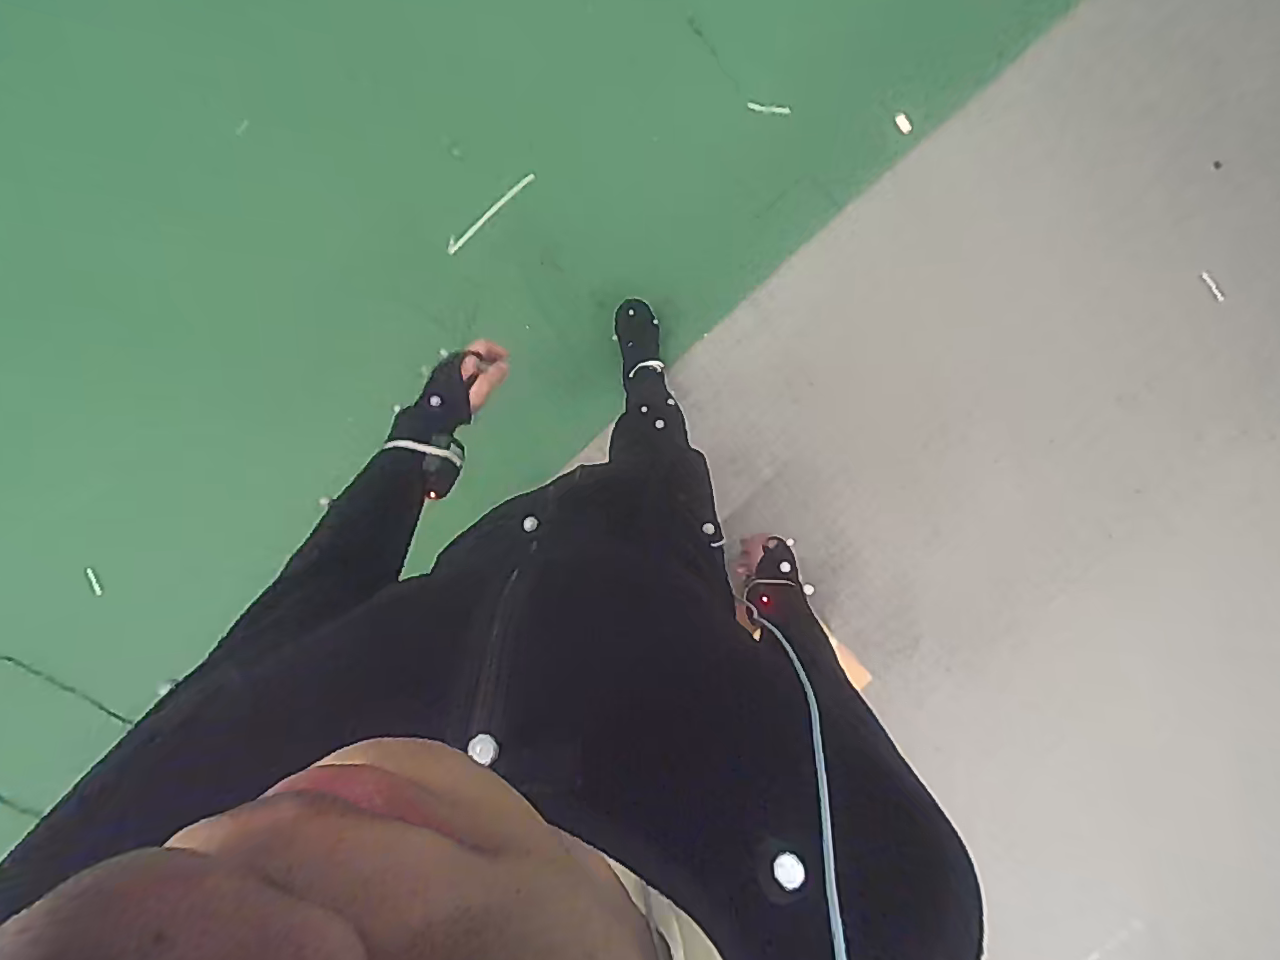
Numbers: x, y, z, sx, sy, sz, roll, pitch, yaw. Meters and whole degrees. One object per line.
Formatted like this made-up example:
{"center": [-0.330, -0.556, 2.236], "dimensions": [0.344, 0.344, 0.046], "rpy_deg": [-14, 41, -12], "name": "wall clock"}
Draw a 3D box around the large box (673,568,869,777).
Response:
{"center": [0.347, 0.525, 1.543], "dimensions": [0.408, 0.320, 0.320], "rpy_deg": [-42, 96, 3], "name": "large box"}
